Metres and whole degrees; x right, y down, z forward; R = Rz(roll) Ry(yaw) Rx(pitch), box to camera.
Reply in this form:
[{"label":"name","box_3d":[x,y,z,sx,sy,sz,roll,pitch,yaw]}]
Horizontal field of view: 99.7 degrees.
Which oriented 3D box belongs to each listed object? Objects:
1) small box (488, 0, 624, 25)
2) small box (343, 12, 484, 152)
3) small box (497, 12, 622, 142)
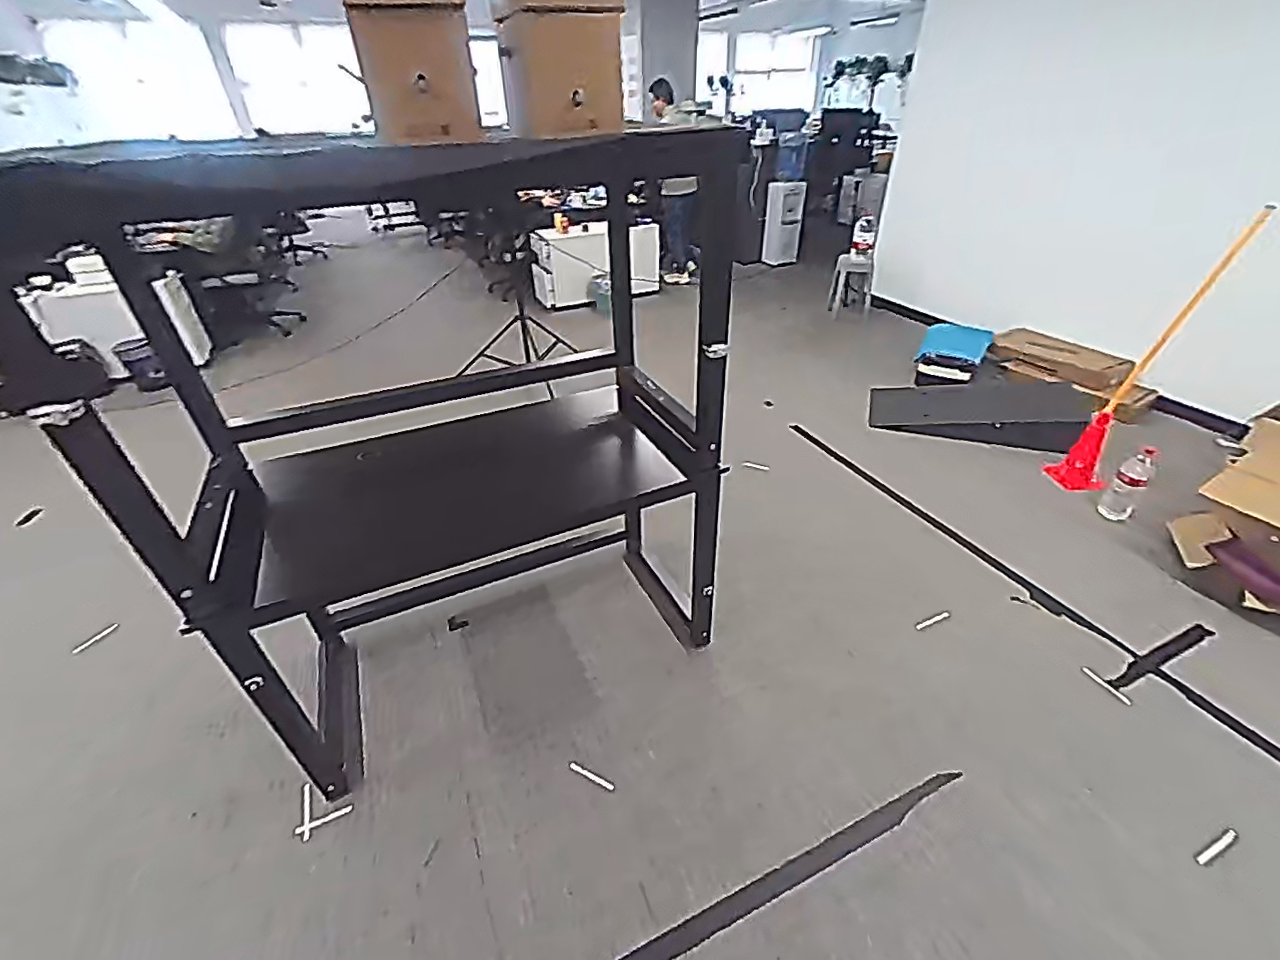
[{"label":"small box","box_3d":[-0.139,-0.821,0.835,0.179,0.176,0.168,-18,37,-22]},{"label":"small box","box_3d":[-0.356,-0.629,0.866,0.168,0.176,0.179,-14,36,-17]},{"label":"small box","box_3d":[-0.139,-0.689,0.939,0.168,0.176,0.179,-16,37,-18]}]
